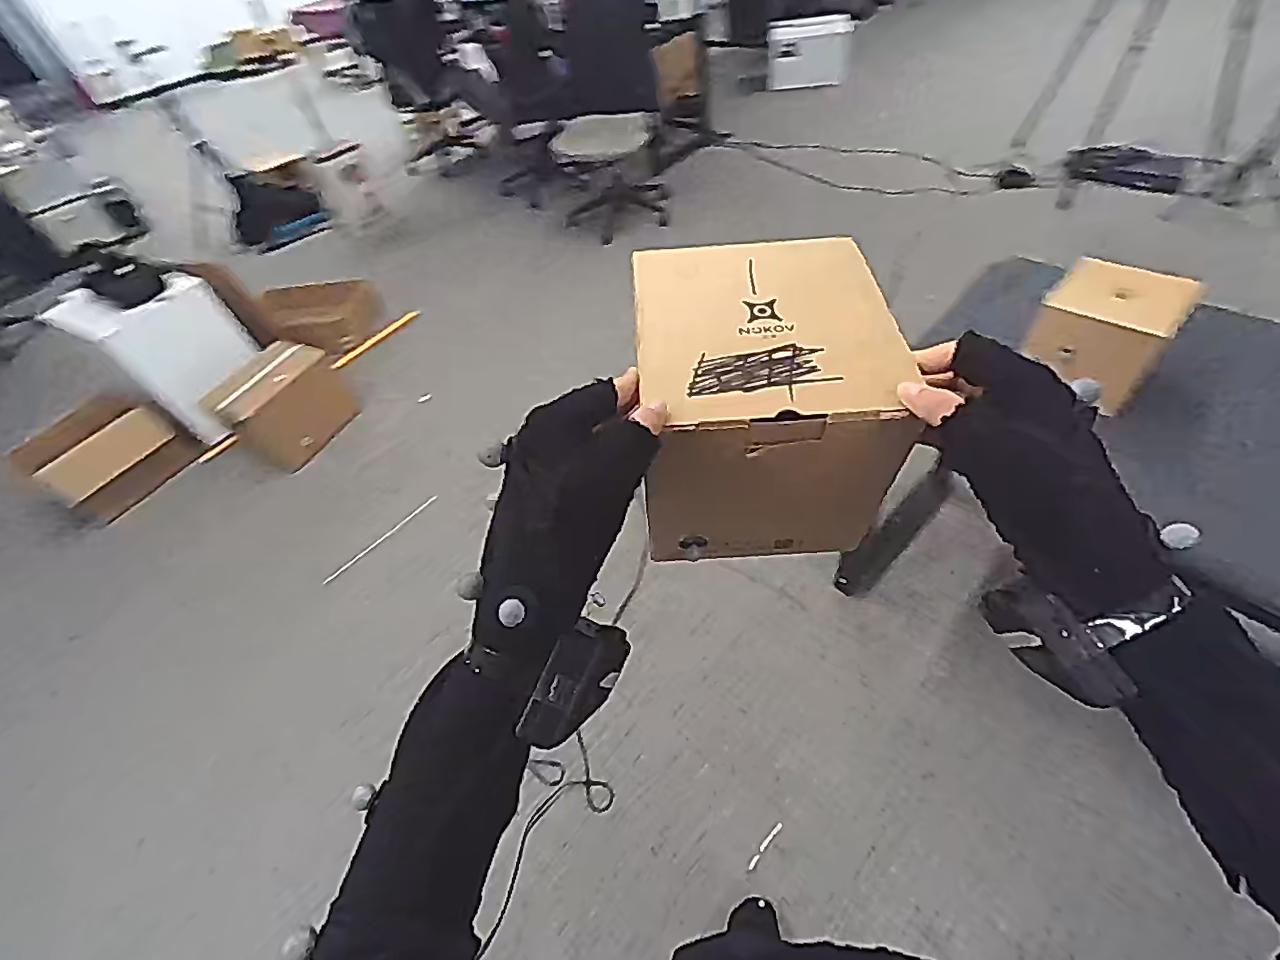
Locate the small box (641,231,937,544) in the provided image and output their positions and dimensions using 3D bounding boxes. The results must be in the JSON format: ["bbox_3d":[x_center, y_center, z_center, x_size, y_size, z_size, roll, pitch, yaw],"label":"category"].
[{"bbox_3d":[0.088,-0.059,0.412,0.168,0.176,0.179,-2,55,2],"label":"small box"}]

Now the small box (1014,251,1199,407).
[{"bbox_3d":[0.776,-0.254,0.920,0.168,0.176,0.179,33,63,32],"label":"small box"}]
